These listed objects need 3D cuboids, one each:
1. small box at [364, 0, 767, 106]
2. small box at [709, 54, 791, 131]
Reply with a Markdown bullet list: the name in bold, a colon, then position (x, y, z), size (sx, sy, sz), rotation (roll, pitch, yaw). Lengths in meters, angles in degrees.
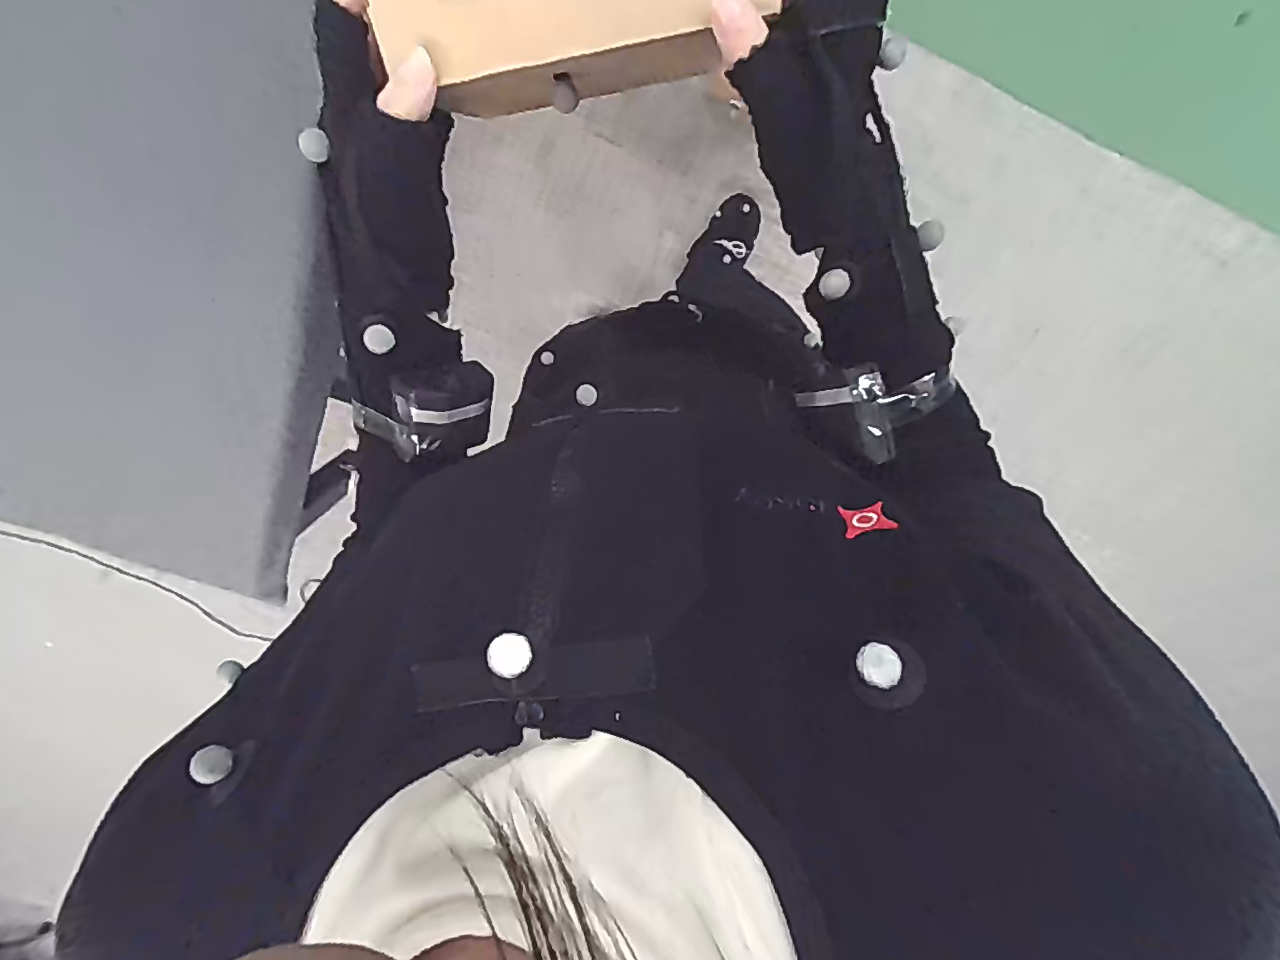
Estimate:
- **small box**: position (-0.038, -0.300, 0.264), size (0.179, 0.176, 0.168), rotation (-8, 120, 3)
- **small box**: position (0.243, -0.814, 1.041), size (0.168, 0.176, 0.179), rotation (24, 113, -8)
